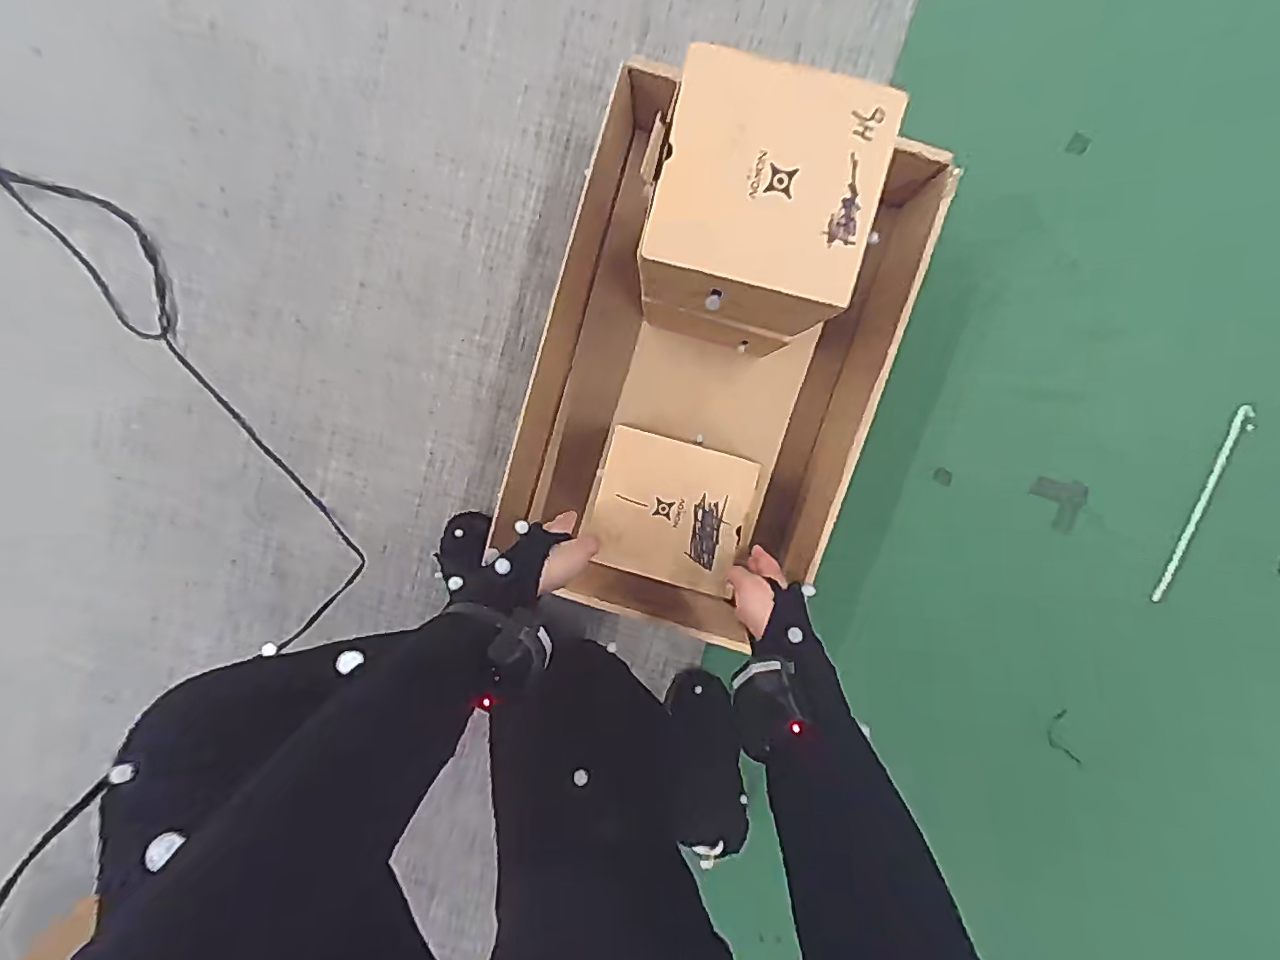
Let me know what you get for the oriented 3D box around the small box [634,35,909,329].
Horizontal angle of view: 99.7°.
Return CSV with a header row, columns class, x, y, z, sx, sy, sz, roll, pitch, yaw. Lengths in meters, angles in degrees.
class,x,y,z,sx,sy,sz,roll,pitch,yaw
small box,0.102,-0.246,0.494,0.179,0.176,0.168,14,98,1
